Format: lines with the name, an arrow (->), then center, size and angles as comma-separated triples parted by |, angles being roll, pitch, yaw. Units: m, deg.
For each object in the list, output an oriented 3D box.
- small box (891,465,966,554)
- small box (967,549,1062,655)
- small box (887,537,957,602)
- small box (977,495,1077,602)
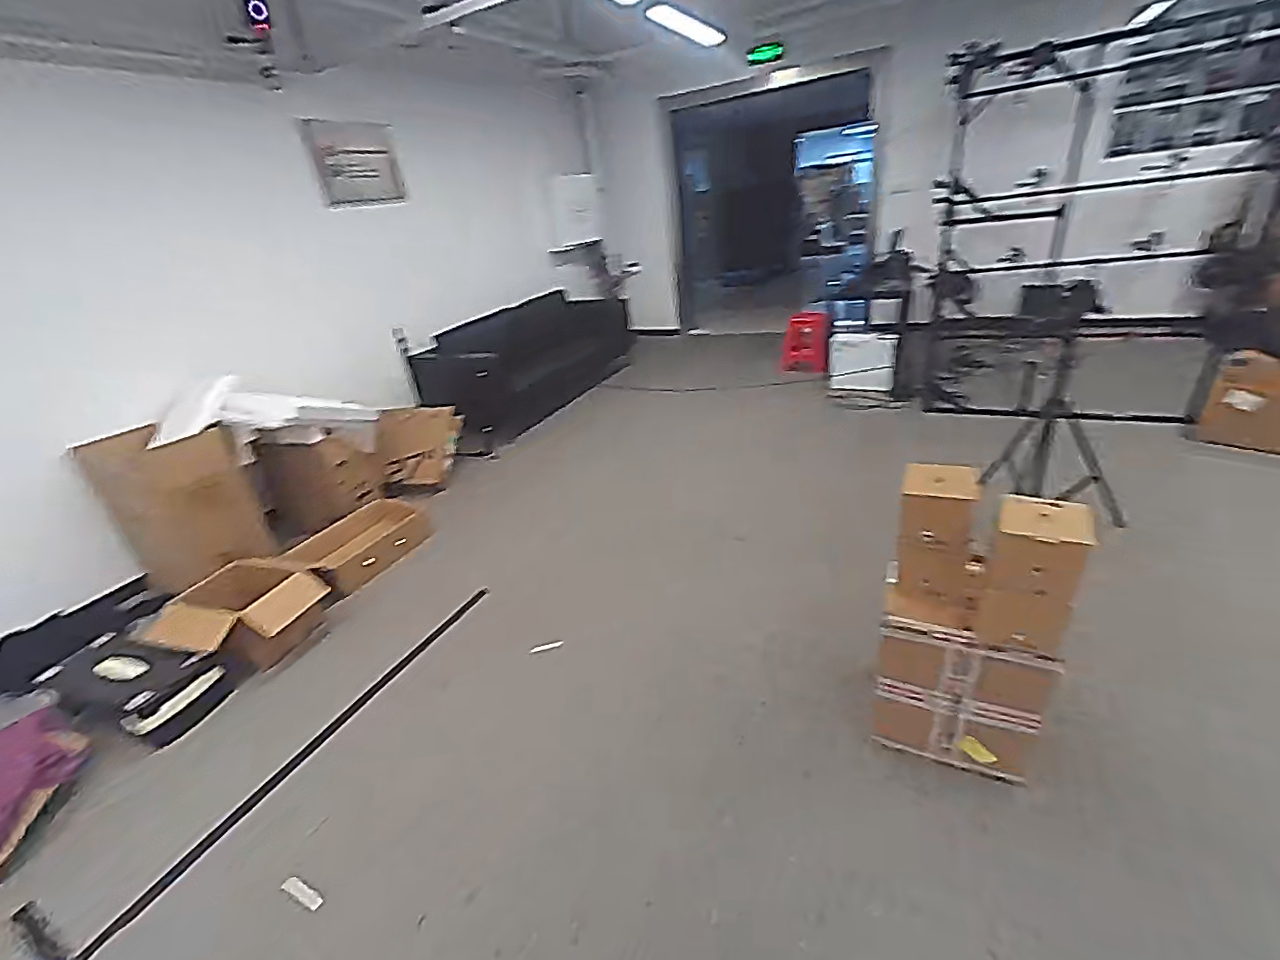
small box -> 0.781, 0.076, 1.470 | 0.168, 0.176, 0.179 | 5, 32, 28
small box -> 0.927, 0.302, 1.354 | 0.168, 0.176, 0.179 | 7, 33, 27
small box -> 0.805, 0.217, 1.546 | 0.168, 0.176, 0.179 | 5, 31, 28
small box -> 0.907, 0.160, 1.275 | 0.168, 0.176, 0.179 | 10, 34, 30
